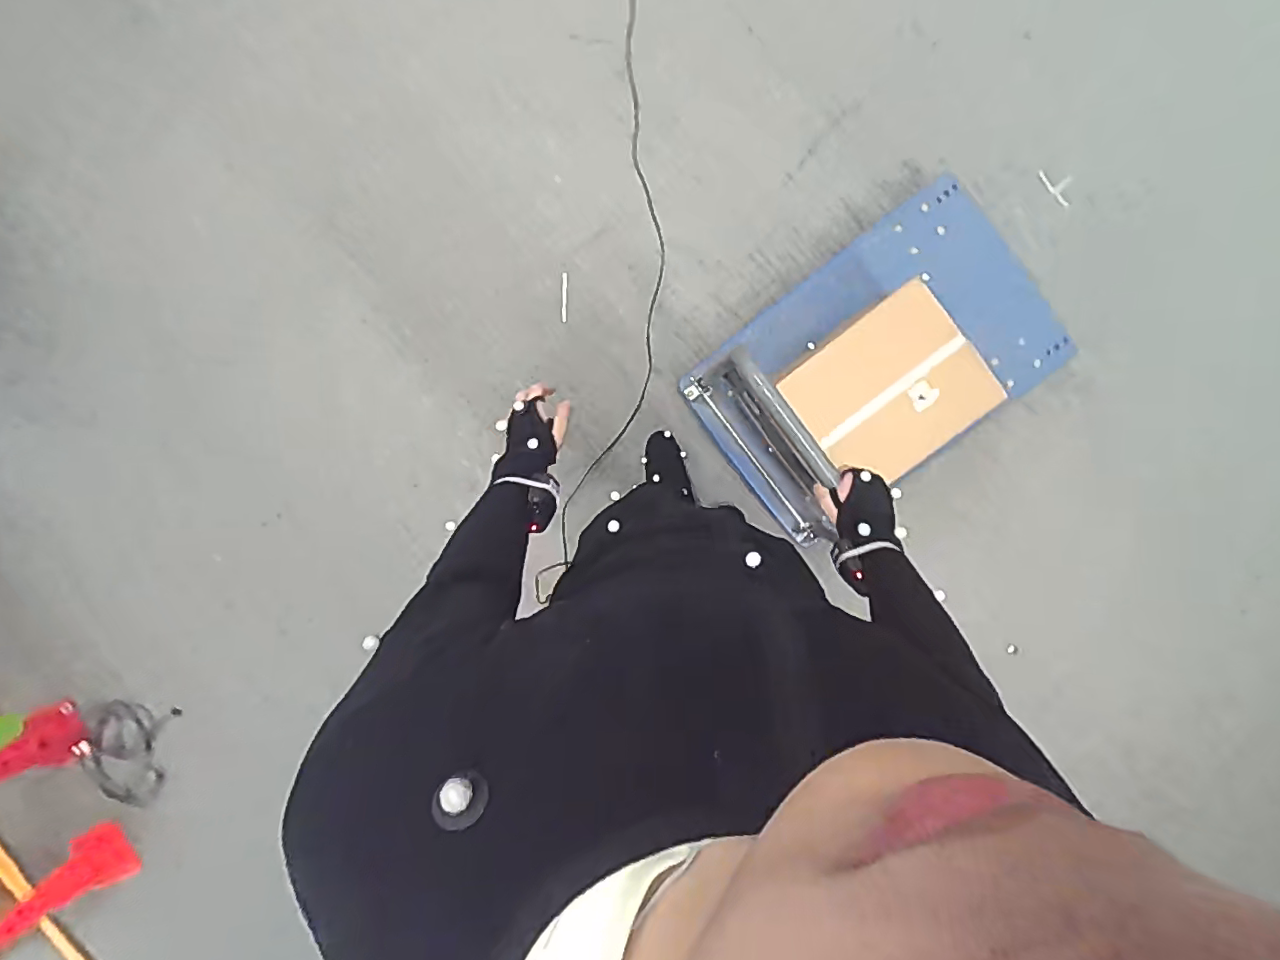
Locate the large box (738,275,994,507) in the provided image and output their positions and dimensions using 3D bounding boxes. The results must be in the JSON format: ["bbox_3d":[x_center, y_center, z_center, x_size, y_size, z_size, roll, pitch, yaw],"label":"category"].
[{"bbox_3d":[0.494,-0.190,1.275,0.408,0.320,0.320,-38,93,5],"label":"large box"}]
